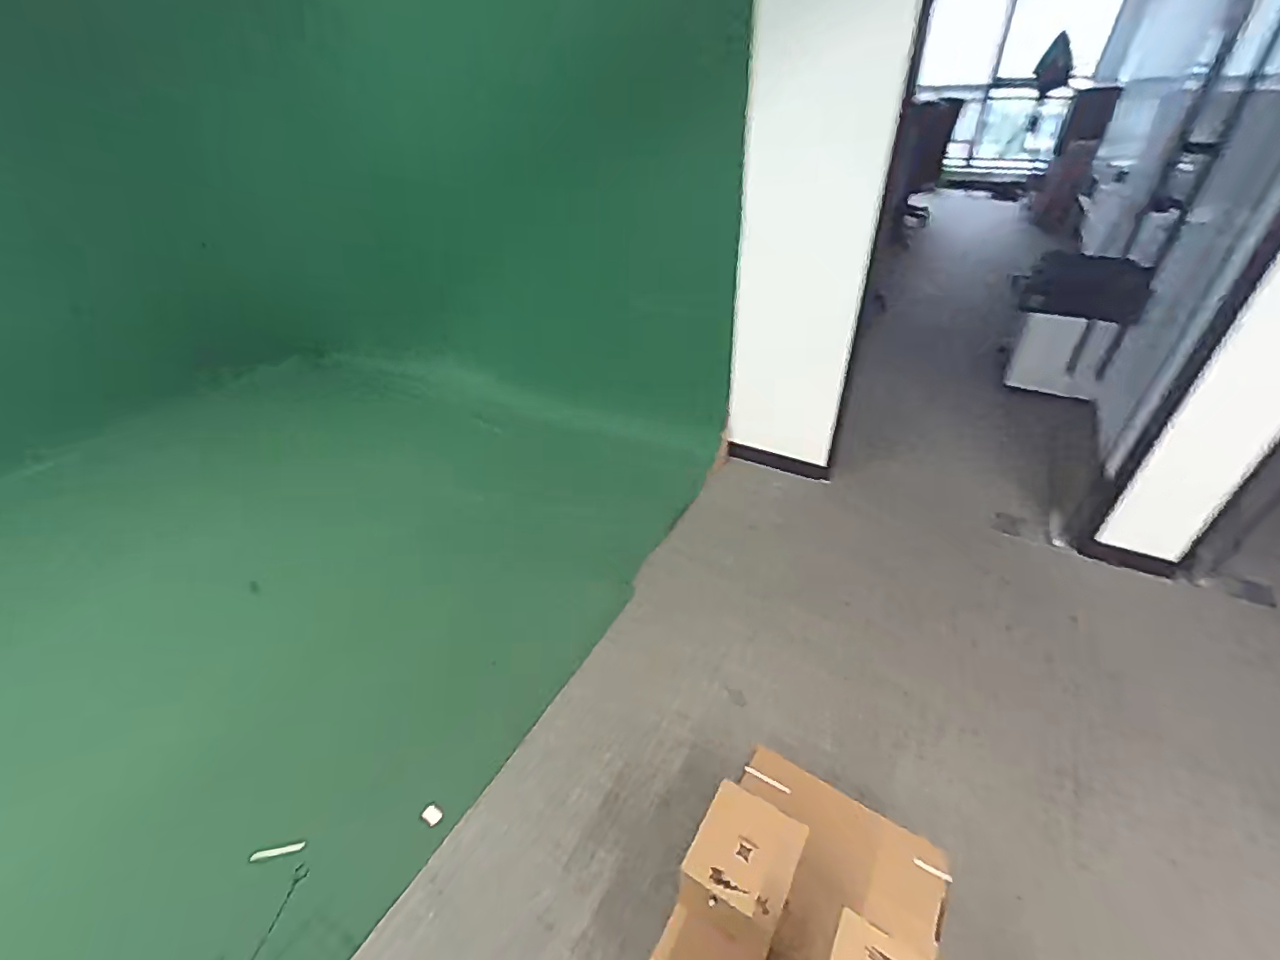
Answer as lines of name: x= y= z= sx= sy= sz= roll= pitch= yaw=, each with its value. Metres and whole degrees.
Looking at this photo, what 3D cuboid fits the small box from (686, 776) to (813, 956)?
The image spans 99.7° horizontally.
small box: x=0.189 y=0.683 z=0.964 sx=0.168 sy=0.176 sz=0.179 roll=19 pitch=41 yaw=27
